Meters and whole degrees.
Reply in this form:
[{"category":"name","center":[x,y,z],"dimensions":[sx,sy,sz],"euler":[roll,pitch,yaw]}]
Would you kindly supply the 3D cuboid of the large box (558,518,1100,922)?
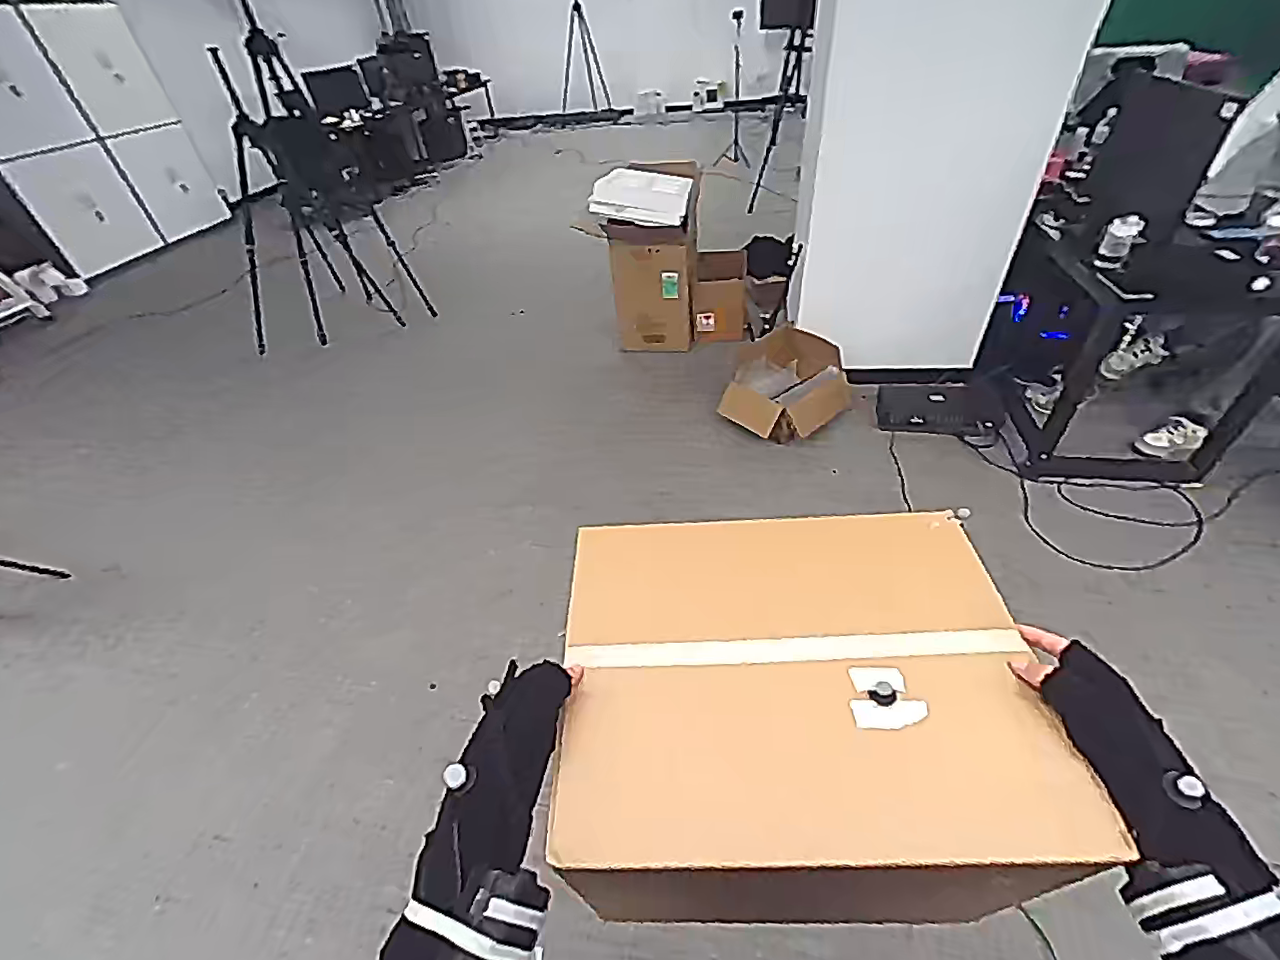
[{"category":"large box","center":[0.141,0.267,0.602],"dimensions":[0.408,0.320,0.320],"euler":[-3,45,3]}]
